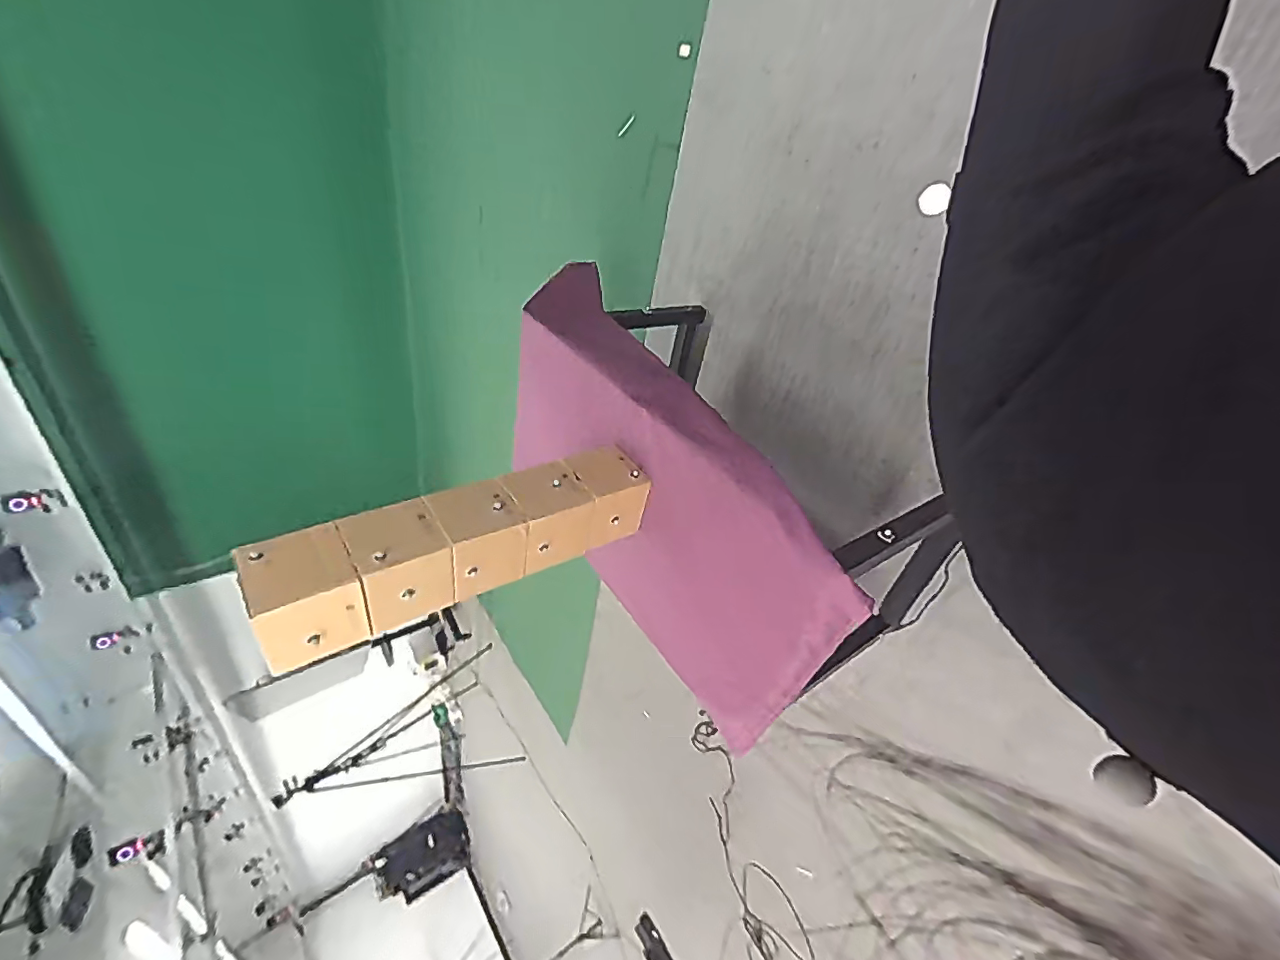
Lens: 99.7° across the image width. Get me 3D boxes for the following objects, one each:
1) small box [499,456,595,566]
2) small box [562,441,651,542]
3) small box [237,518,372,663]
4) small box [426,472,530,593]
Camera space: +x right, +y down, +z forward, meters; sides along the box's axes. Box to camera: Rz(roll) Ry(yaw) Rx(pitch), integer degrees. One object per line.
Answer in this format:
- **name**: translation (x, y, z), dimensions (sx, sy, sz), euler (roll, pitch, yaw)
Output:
- **small box**: translation (-0.223, 0.067, 1.273), dimensions (0.168, 0.176, 0.179), euler (45, 136, 34)
- **small box**: translation (-0.093, 0.021, 1.362), dimensions (0.168, 0.176, 0.179), euler (45, 137, 34)
- **small box**: translation (-0.608, 0.194, 1.000), dimensions (0.179, 0.176, 0.168), euler (44, 137, 35)
- **small box**: translation (-0.352, 0.109, 1.183), dimensions (0.168, 0.176, 0.179), euler (44, 136, 34)
